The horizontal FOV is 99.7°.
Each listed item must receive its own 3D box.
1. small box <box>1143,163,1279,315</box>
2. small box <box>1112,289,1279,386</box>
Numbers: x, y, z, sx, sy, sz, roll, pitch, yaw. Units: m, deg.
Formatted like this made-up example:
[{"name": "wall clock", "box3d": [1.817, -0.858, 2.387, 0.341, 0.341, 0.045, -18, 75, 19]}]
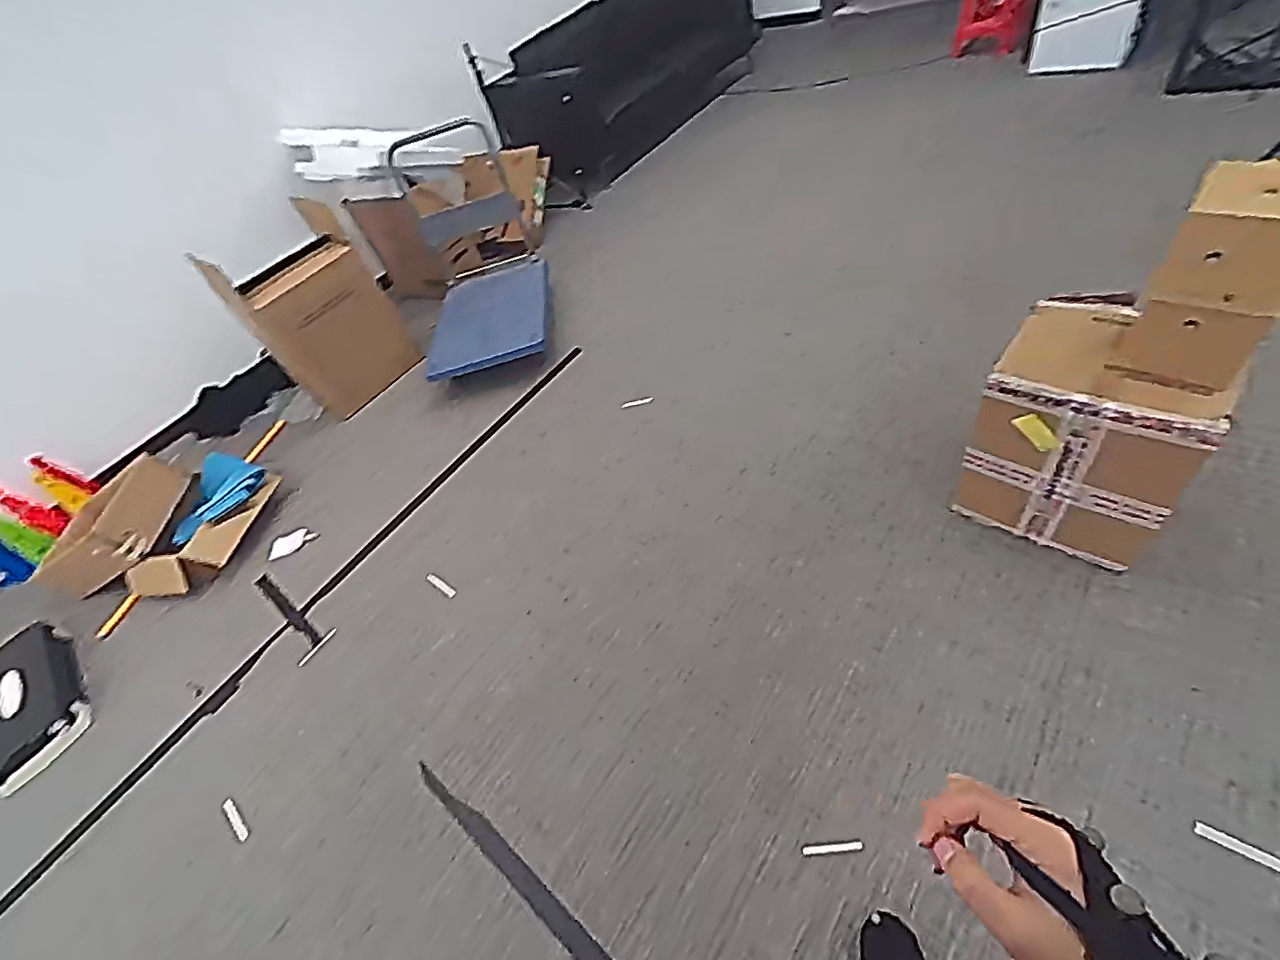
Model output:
[{"name": "small box", "box3d": [1.001, -0.406, 0.913, 0.168, 0.176, 0.179, 27, 64, 35]}, {"name": "small box", "box3d": [1.055, -0.306, 1.030, 0.179, 0.176, 0.168, 30, 67, 35]}]
